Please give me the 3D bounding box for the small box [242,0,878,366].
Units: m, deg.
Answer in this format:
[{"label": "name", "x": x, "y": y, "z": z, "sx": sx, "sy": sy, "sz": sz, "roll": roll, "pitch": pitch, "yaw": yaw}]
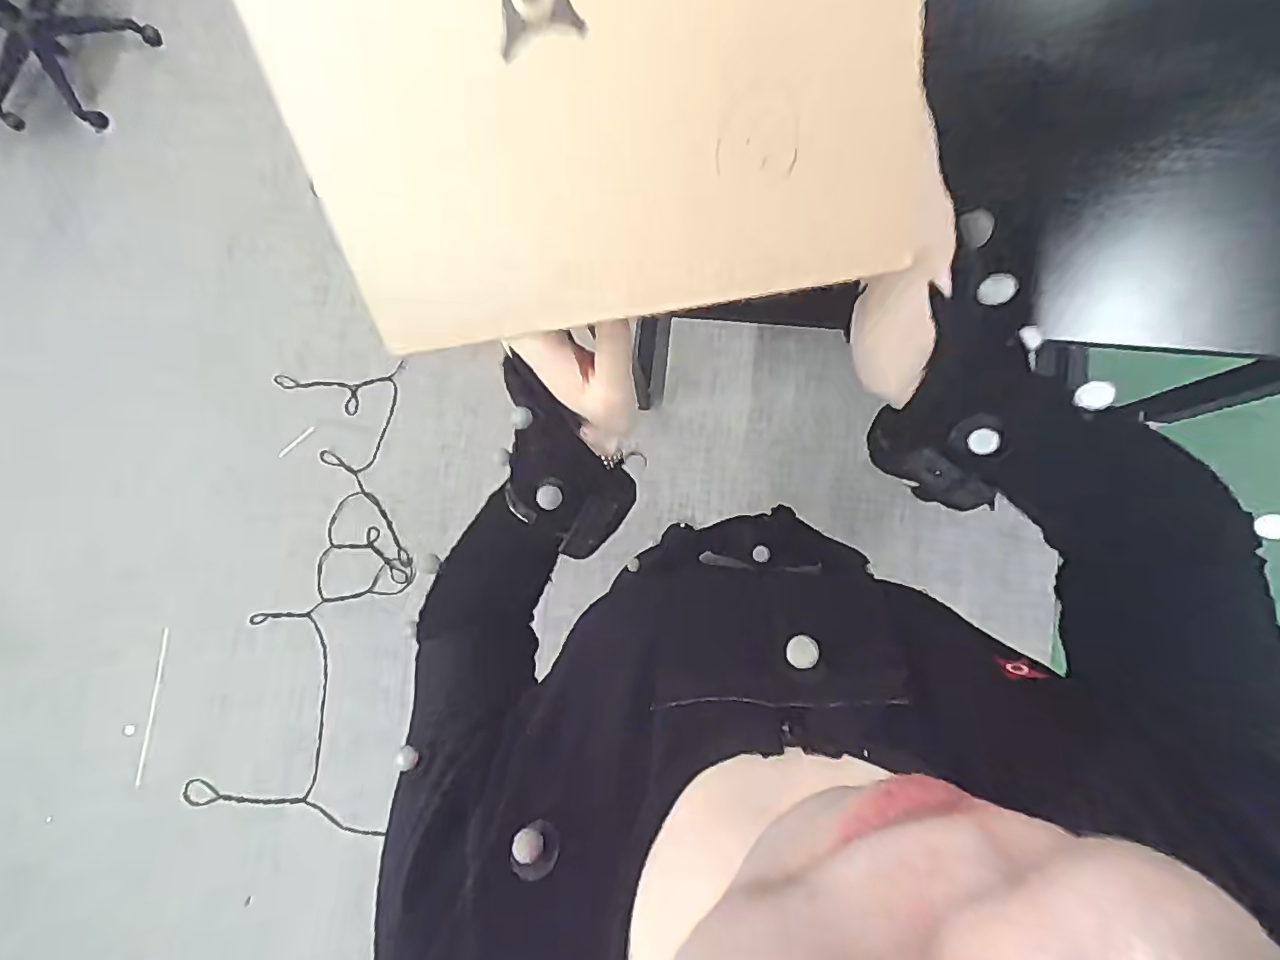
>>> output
[{"label": "small box", "x": -0.009, "y": -0.160, "z": 0.203, "sx": 0.168, "sy": 0.176, "sz": 0.179, "roll": -5, "pitch": 117, "yaw": 17}]
